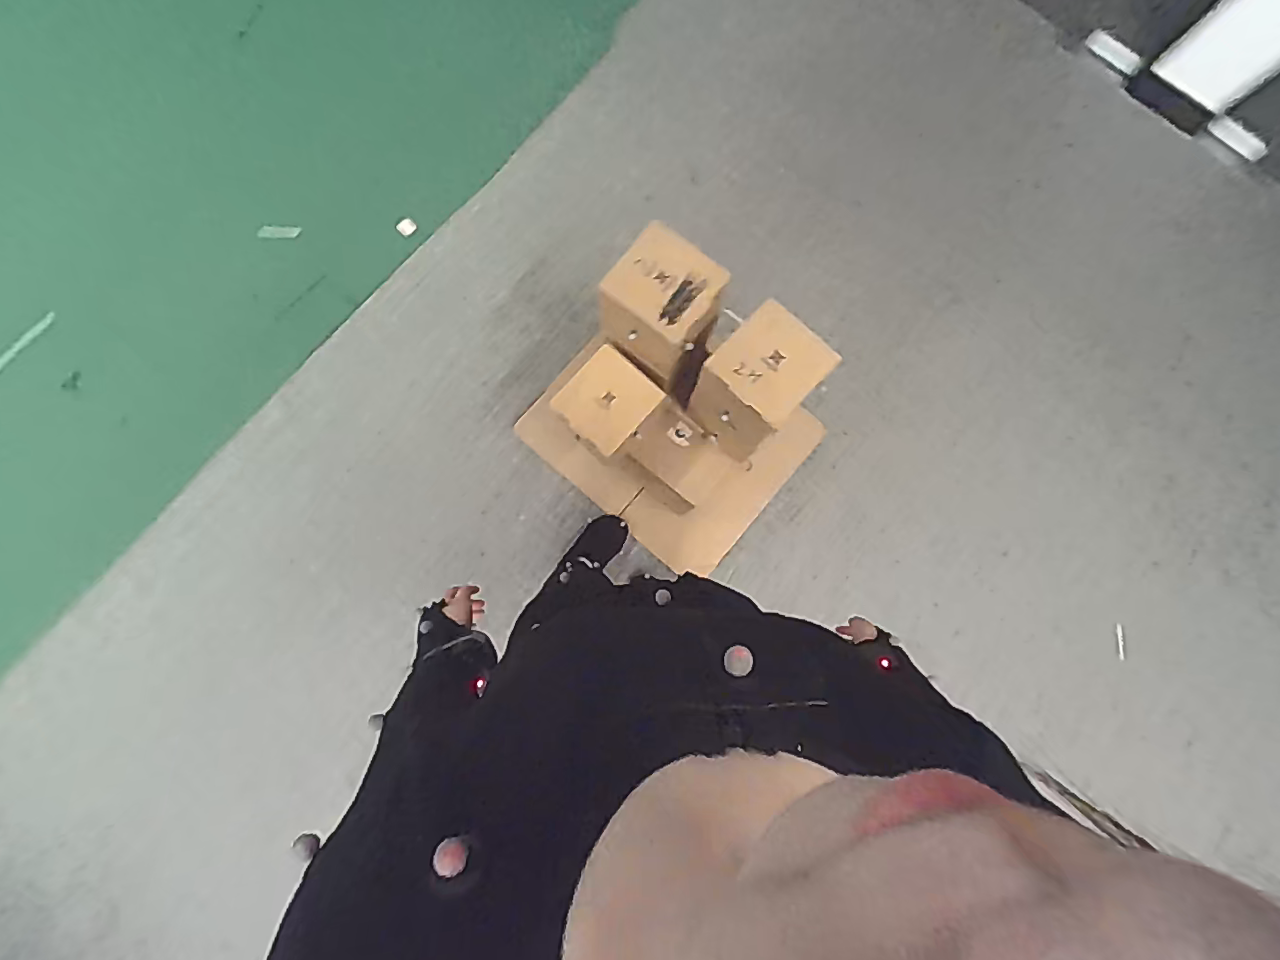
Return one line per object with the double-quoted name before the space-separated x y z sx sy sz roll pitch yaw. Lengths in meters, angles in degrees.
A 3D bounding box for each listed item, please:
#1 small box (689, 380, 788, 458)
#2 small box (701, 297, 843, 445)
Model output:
"small box" 0.224 -0.165 1.159 0.179 0.176 0.168 43 83 6
"small box" 0.229 -0.190 0.993 0.168 0.176 0.179 44 83 7
